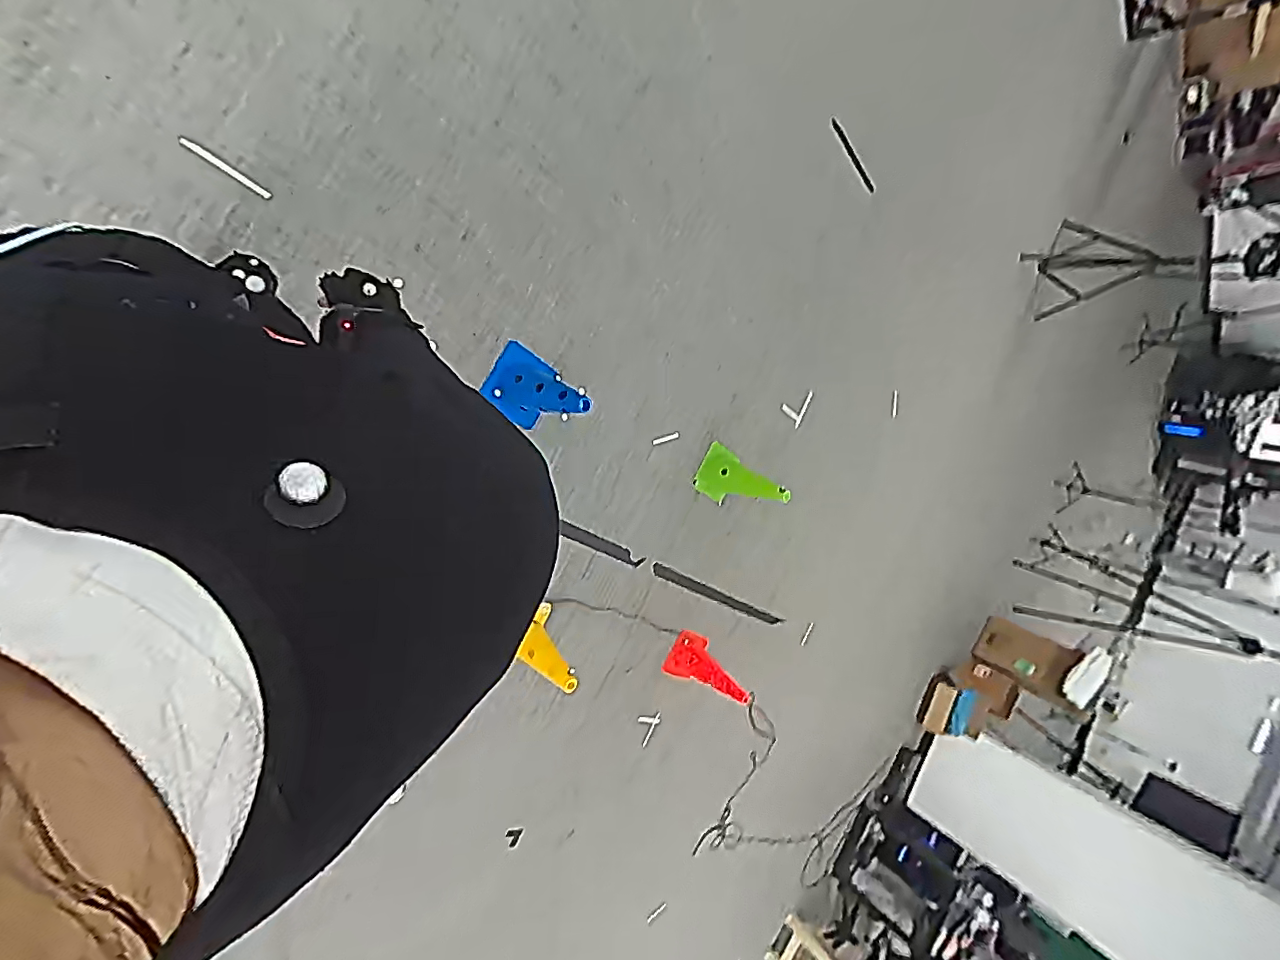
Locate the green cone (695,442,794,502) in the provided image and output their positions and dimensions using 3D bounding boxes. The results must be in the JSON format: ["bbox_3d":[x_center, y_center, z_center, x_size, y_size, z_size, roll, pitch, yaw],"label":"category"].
[{"bbox_3d":[0.415,0.009,2.016,0.200,0.368,0.202,30,84,-41],"label":"green cone"}]

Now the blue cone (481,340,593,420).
[{"bbox_3d":[-0.244,-0.241,1.426,0.193,0.380,0.192,35,81,-40],"label":"blue cone"}]

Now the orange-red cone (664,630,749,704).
[{"bbox_3d":[0.301,0.796,2.191,0.198,0.360,0.199,36,83,-39],"label":"orange-red cone"}]
